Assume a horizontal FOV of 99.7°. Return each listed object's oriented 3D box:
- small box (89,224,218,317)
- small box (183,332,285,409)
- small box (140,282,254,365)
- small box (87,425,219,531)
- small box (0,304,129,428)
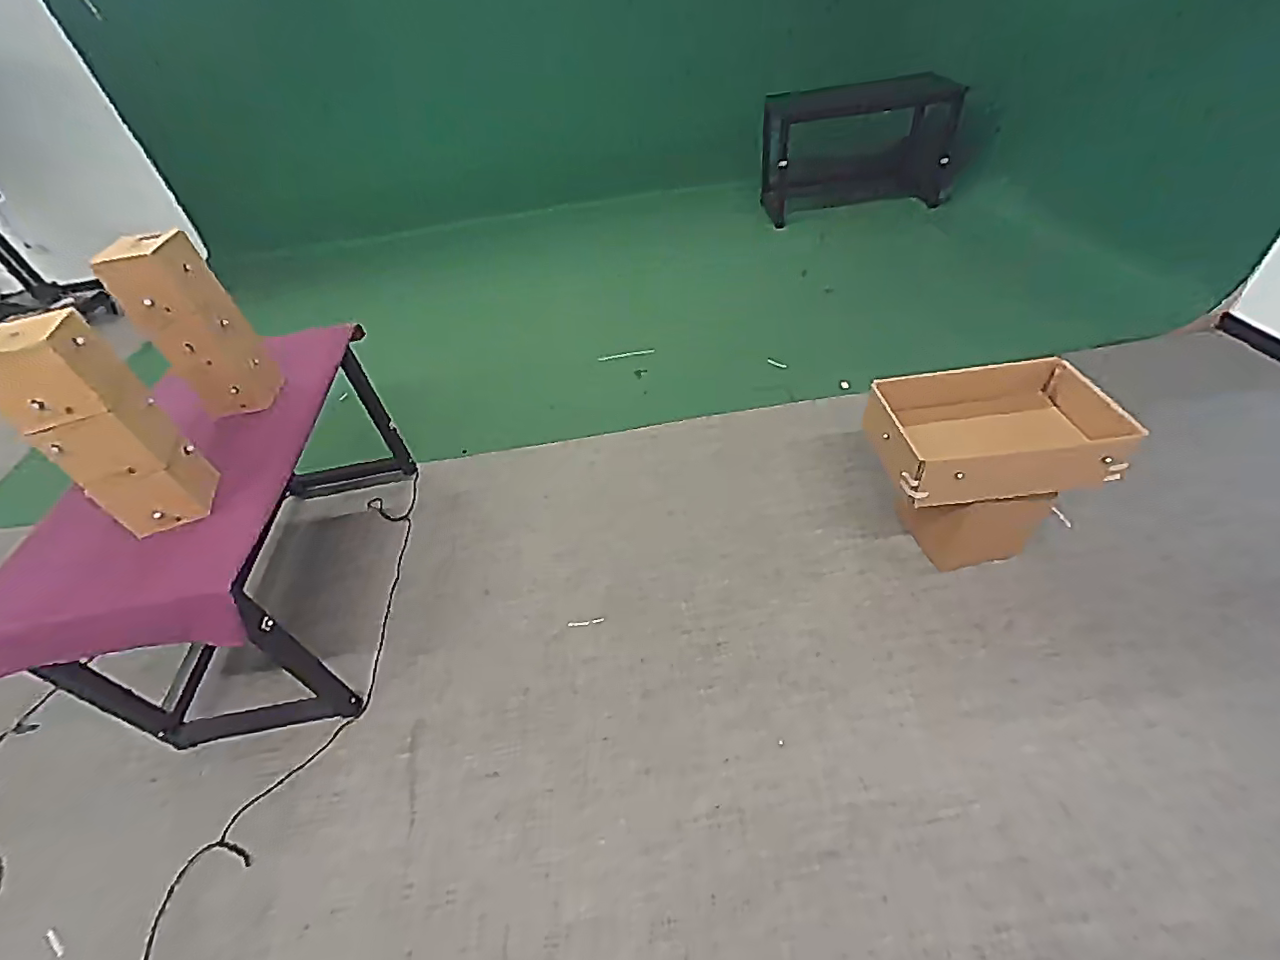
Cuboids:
[{"bbox_3d":[-1.294,-0.564,1.458,0.168,0.176,0.179,-10,46,-2],"label":"small box"},{"bbox_3d":[-1.255,-0.335,1.690,0.168,0.176,0.179,-8,45,0],"label":"small box"},{"bbox_3d":[-1.275,-0.449,1.574,0.168,0.176,0.179,-9,46,-1],"label":"small box"},{"bbox_3d":[-1.200,-0.004,1.353,0.168,0.176,0.179,-20,46,-10],"label":"small box"},{"bbox_3d":[-1.228,-0.237,1.126,0.168,0.176,0.179,-20,46,-12],"label":"small box"}]
